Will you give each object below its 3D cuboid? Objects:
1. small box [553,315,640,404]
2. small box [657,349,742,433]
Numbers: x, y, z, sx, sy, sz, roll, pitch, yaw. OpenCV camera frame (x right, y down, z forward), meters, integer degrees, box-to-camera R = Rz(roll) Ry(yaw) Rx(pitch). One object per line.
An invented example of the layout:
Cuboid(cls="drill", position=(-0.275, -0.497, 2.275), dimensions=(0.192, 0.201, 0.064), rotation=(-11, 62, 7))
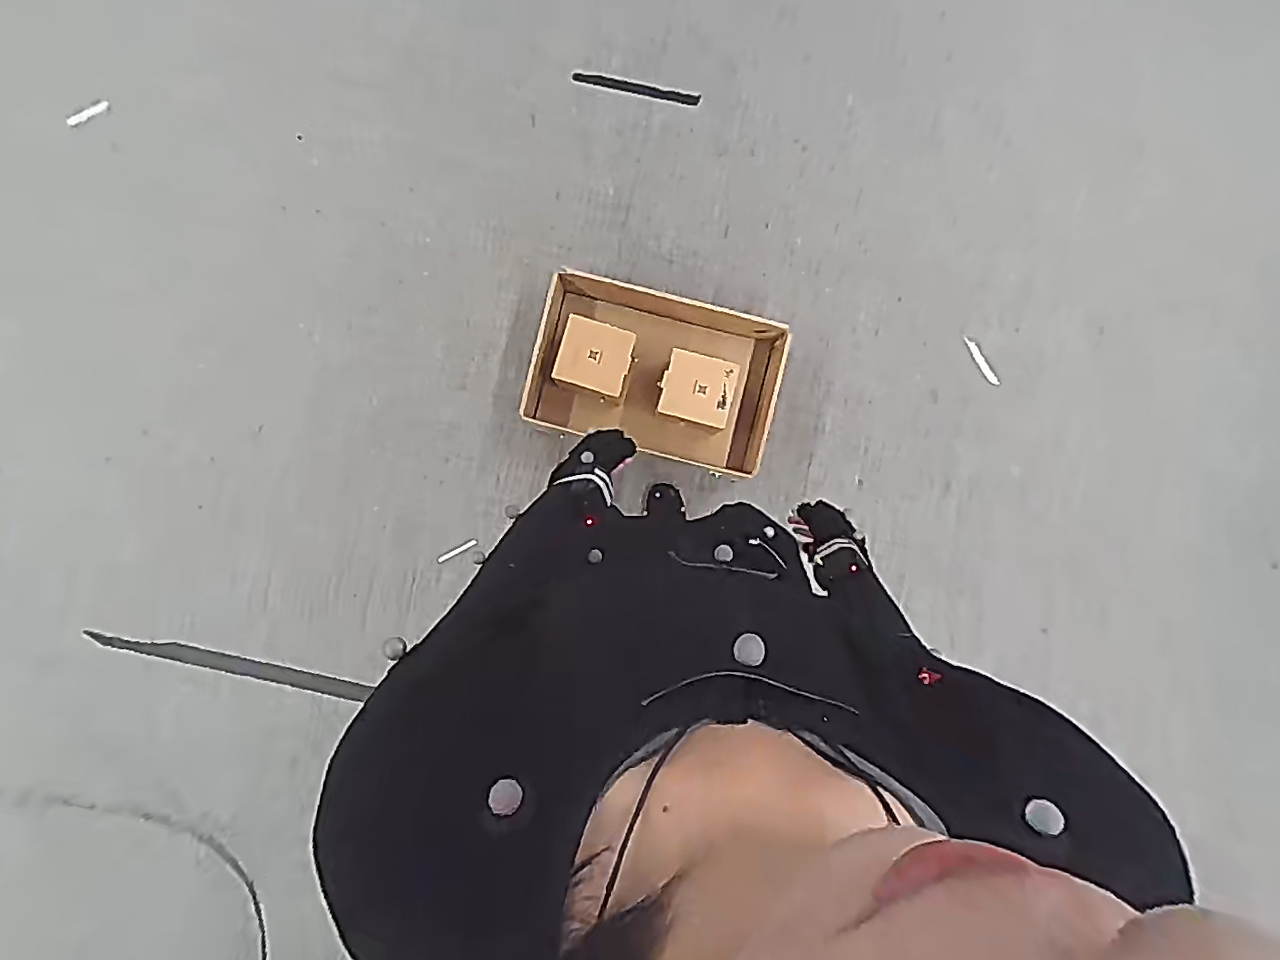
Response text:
Cuboid(cls="small box", position=(-0.108, -0.302, 1.401), dimensions=(0.179, 0.176, 0.168), rotation=(17, 89, -1))
Cuboid(cls="small box", position=(0.148, -0.224, 1.406), dimensions=(0.179, 0.176, 0.168), rotation=(15, 90, 1))
